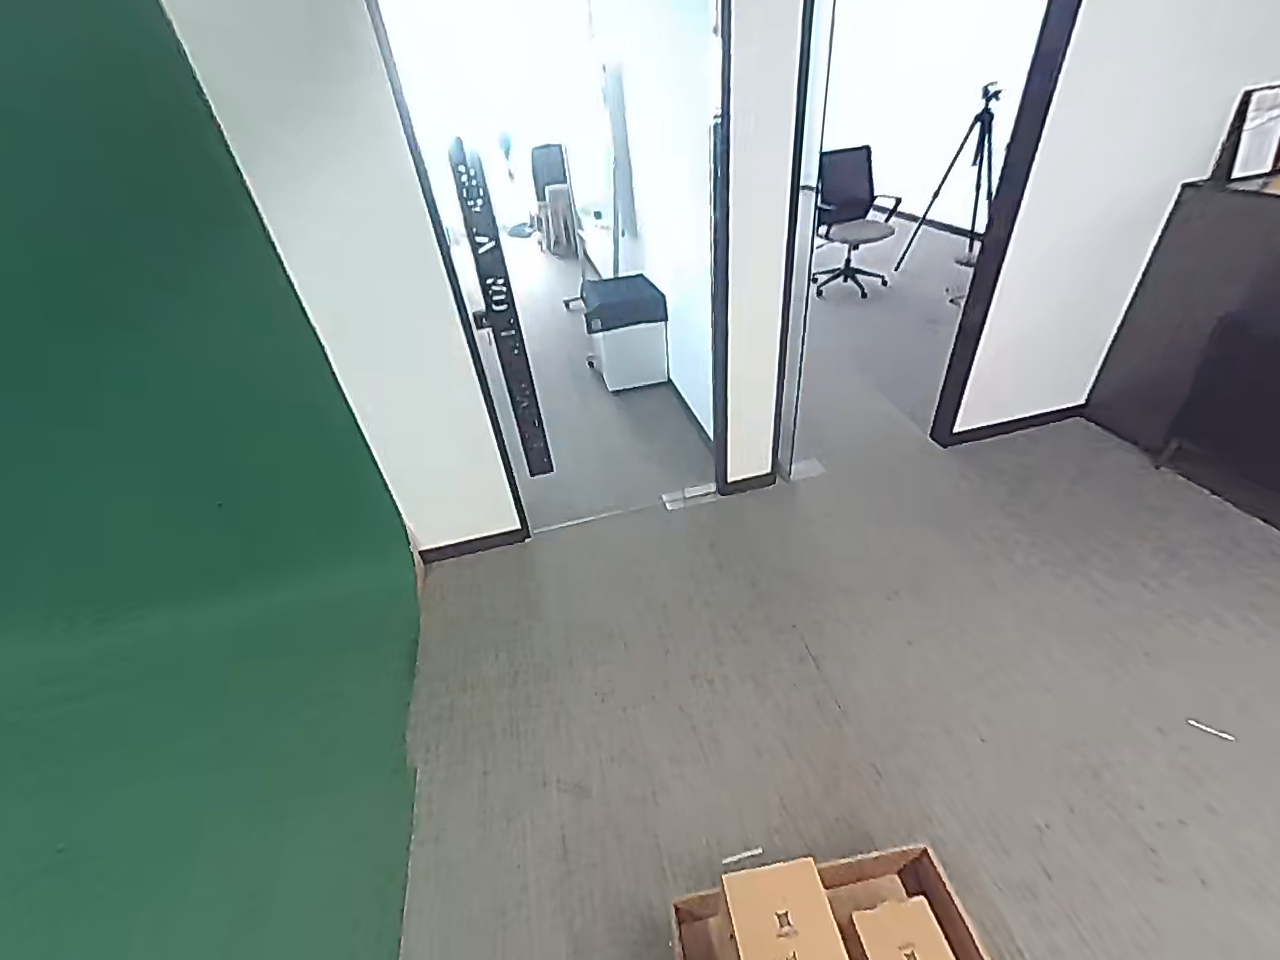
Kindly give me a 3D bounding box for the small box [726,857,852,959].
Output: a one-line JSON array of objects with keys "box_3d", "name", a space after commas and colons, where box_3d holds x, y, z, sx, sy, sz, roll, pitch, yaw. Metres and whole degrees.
[{"box_3d": [0.245, 0.782, 0.913, 0.168, 0.176, 0.179, -9, 36, -3], "name": "small box"}]
